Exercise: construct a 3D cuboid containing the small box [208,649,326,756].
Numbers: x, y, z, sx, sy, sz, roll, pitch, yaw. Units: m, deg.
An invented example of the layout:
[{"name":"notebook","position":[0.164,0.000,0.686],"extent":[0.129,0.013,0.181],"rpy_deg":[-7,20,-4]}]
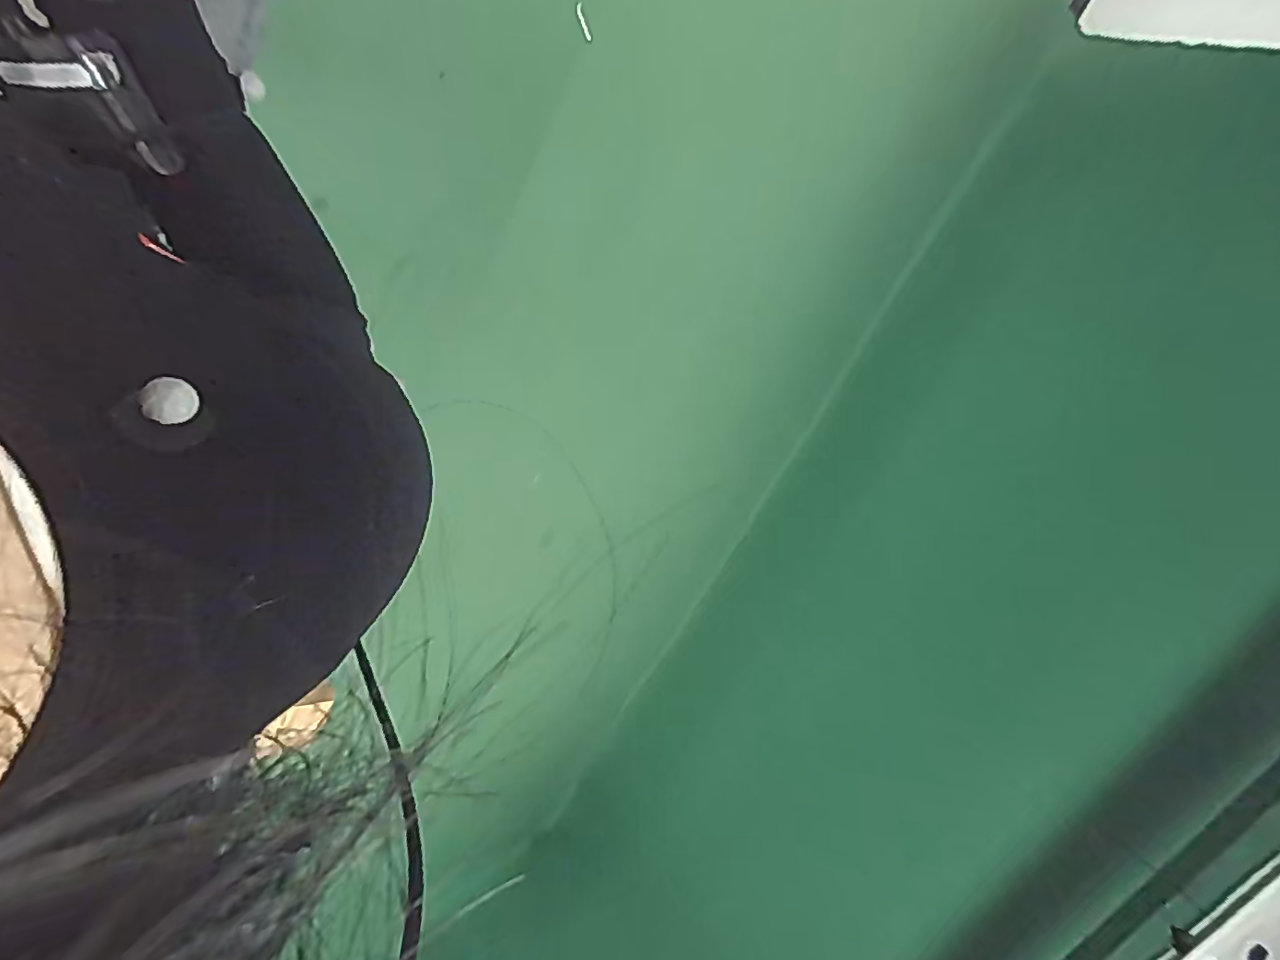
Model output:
[{"name":"small box","position":[-0.926,0.539,1.339],"extent":[0.179,0.176,0.168],"rpy_deg":[17,110,-54]}]
